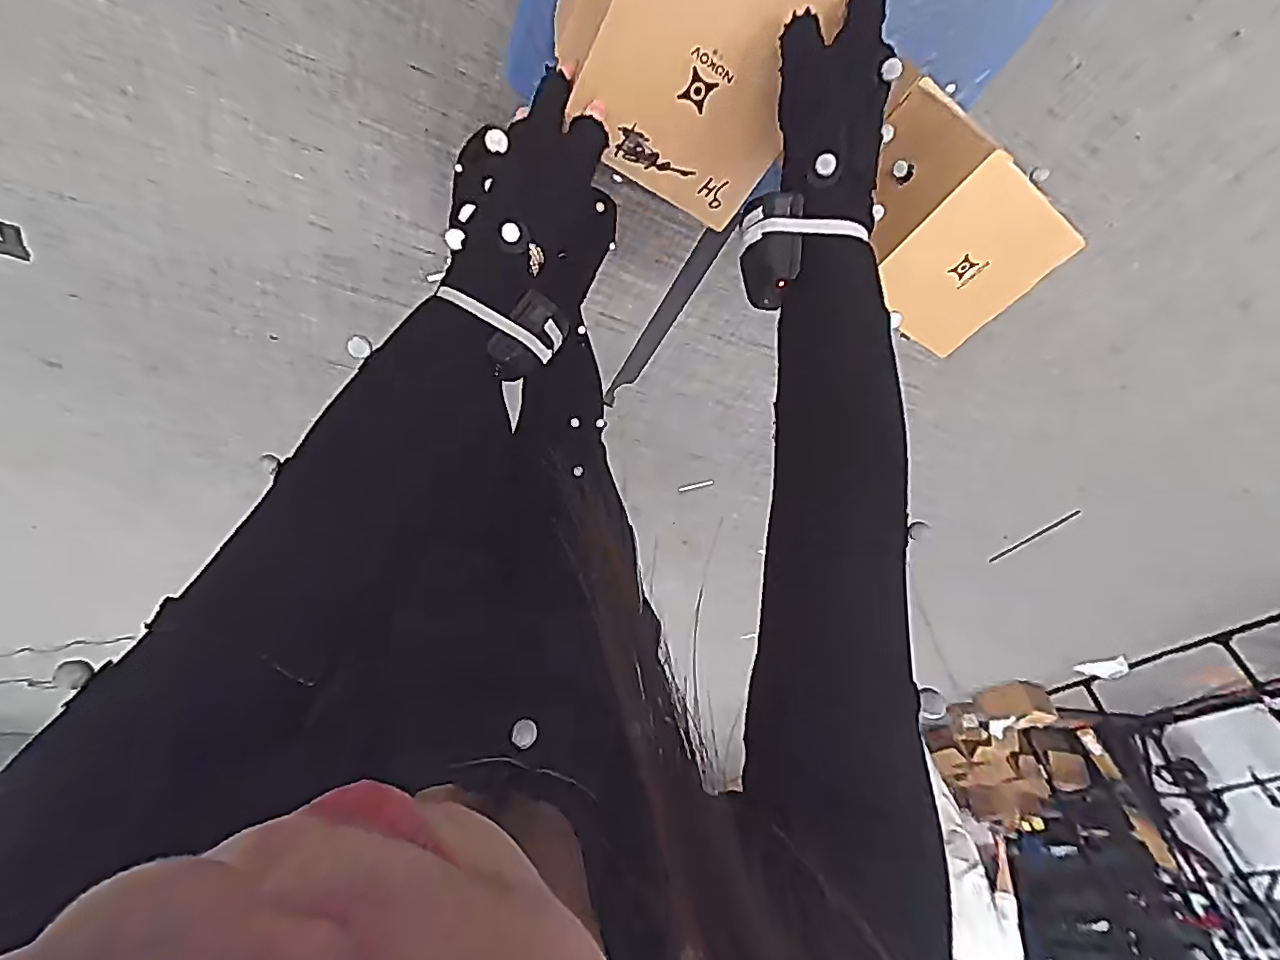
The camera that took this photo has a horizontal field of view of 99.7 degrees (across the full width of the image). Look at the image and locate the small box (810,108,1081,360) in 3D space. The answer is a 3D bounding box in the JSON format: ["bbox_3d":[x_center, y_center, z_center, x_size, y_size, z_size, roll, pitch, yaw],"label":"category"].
[{"bbox_3d":[0.321,-0.273,0.601,0.179,0.176,0.168,17,136,-29],"label":"small box"}]

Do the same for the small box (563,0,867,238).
[{"bbox_3d":[0.043,-0.352,0.451,0.168,0.176,0.179,18,135,-27],"label":"small box"}]

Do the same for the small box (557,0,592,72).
[{"bbox_3d":[0.028,-0.482,0.551,0.179,0.176,0.168,17,136,-27],"label":"small box"}]
